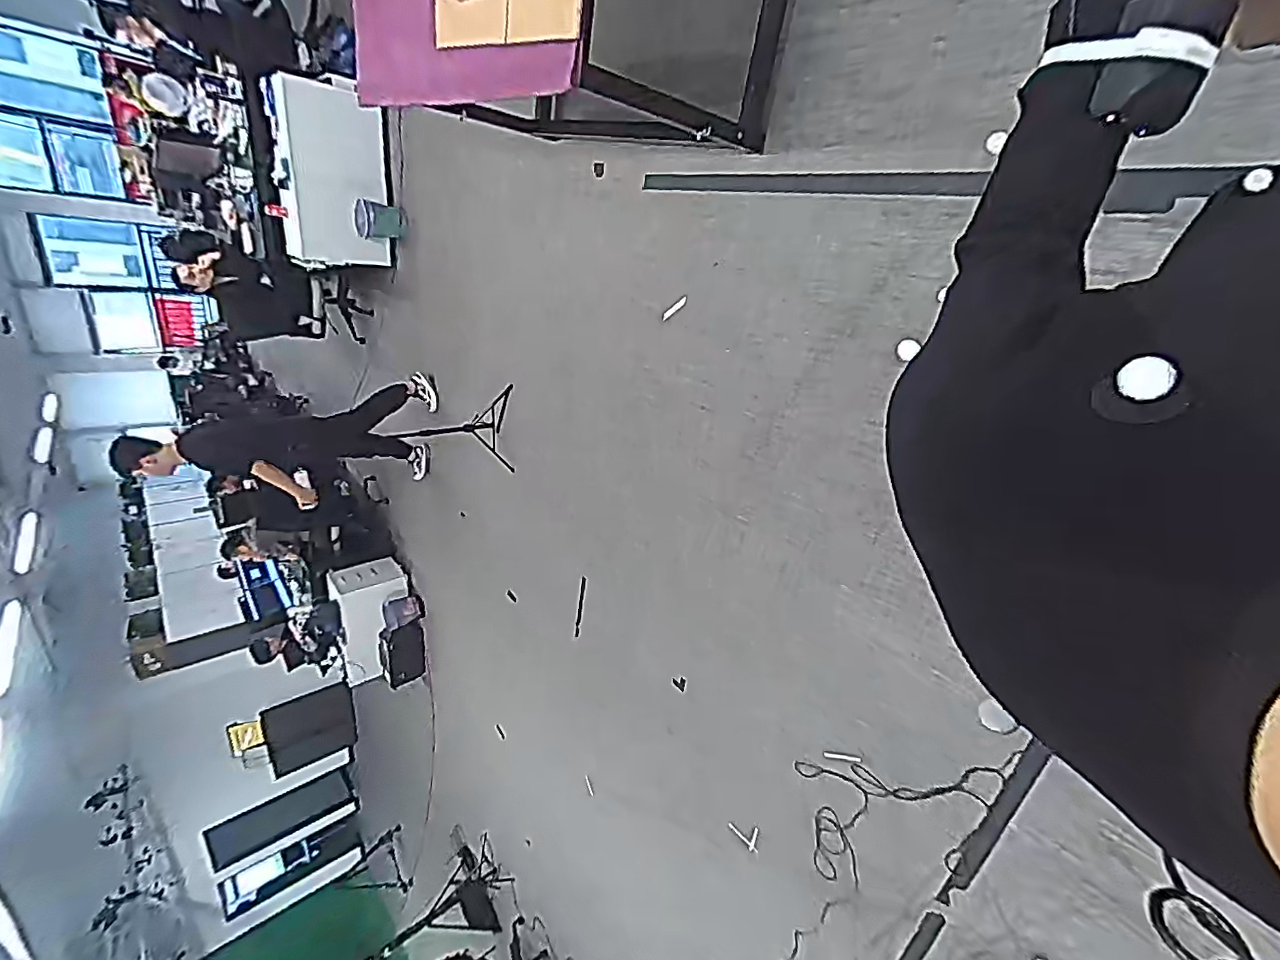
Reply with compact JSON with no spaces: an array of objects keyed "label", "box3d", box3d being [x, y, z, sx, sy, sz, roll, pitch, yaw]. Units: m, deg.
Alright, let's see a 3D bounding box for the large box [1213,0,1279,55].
[{"label":"large box","box3d":[0.573,-0.432,0.223,0.408,0.320,0.320,23,126,42]}]
